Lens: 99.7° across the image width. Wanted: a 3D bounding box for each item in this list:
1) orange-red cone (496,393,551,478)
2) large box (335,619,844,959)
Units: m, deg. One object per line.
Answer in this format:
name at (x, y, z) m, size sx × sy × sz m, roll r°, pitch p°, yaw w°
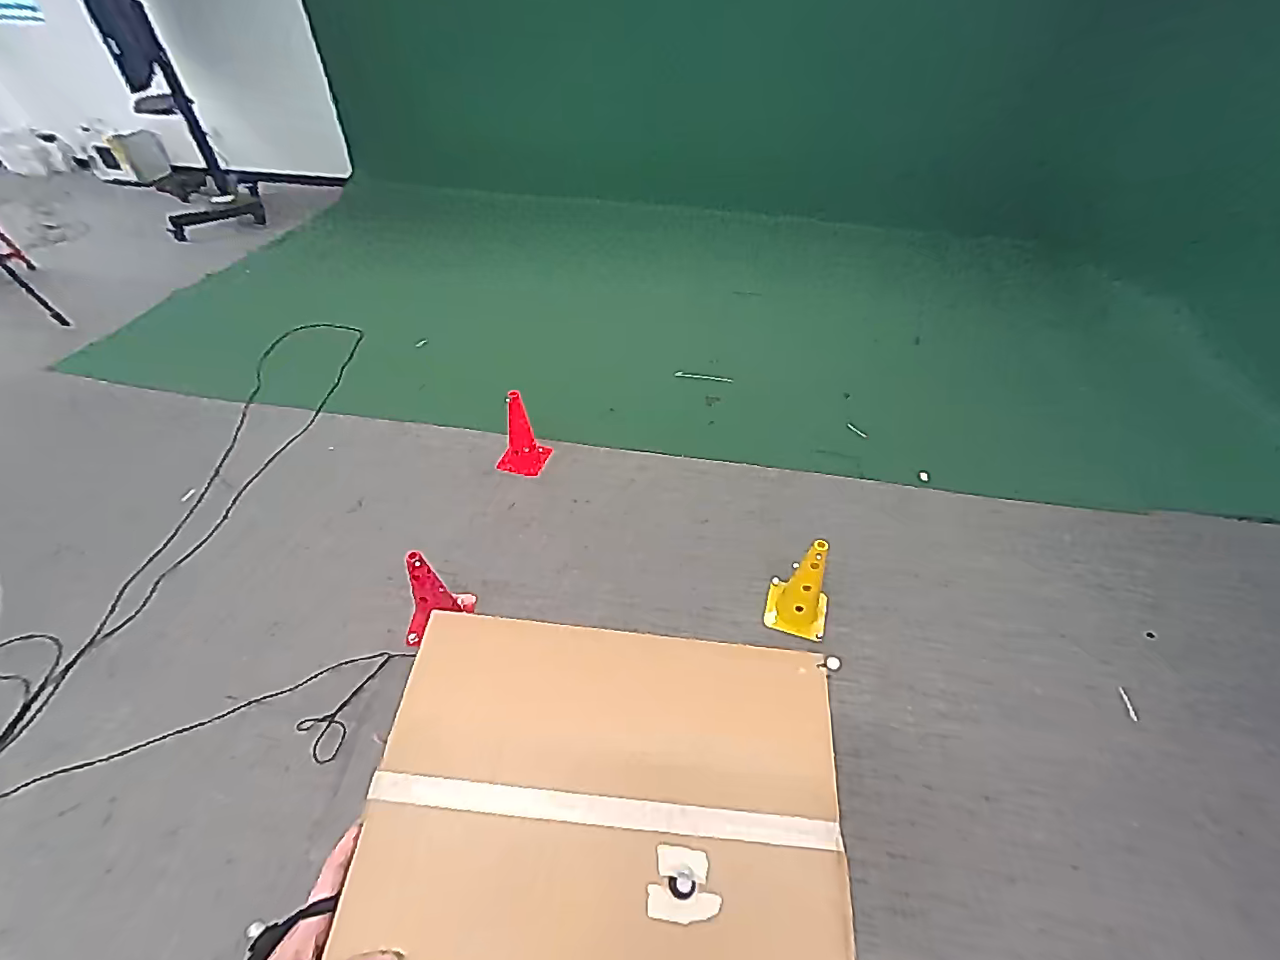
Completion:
orange-red cone at (-0.515, -0.209, 2.286) m, size 0.199 × 0.360 × 0.198 m, roll 12°, pitch 44°, yaw 12°
large box at (-0.037, 0.372, 0.601) m, size 0.408 × 0.320 × 0.320 m, roll 6°, pitch 57°, yaw 0°
